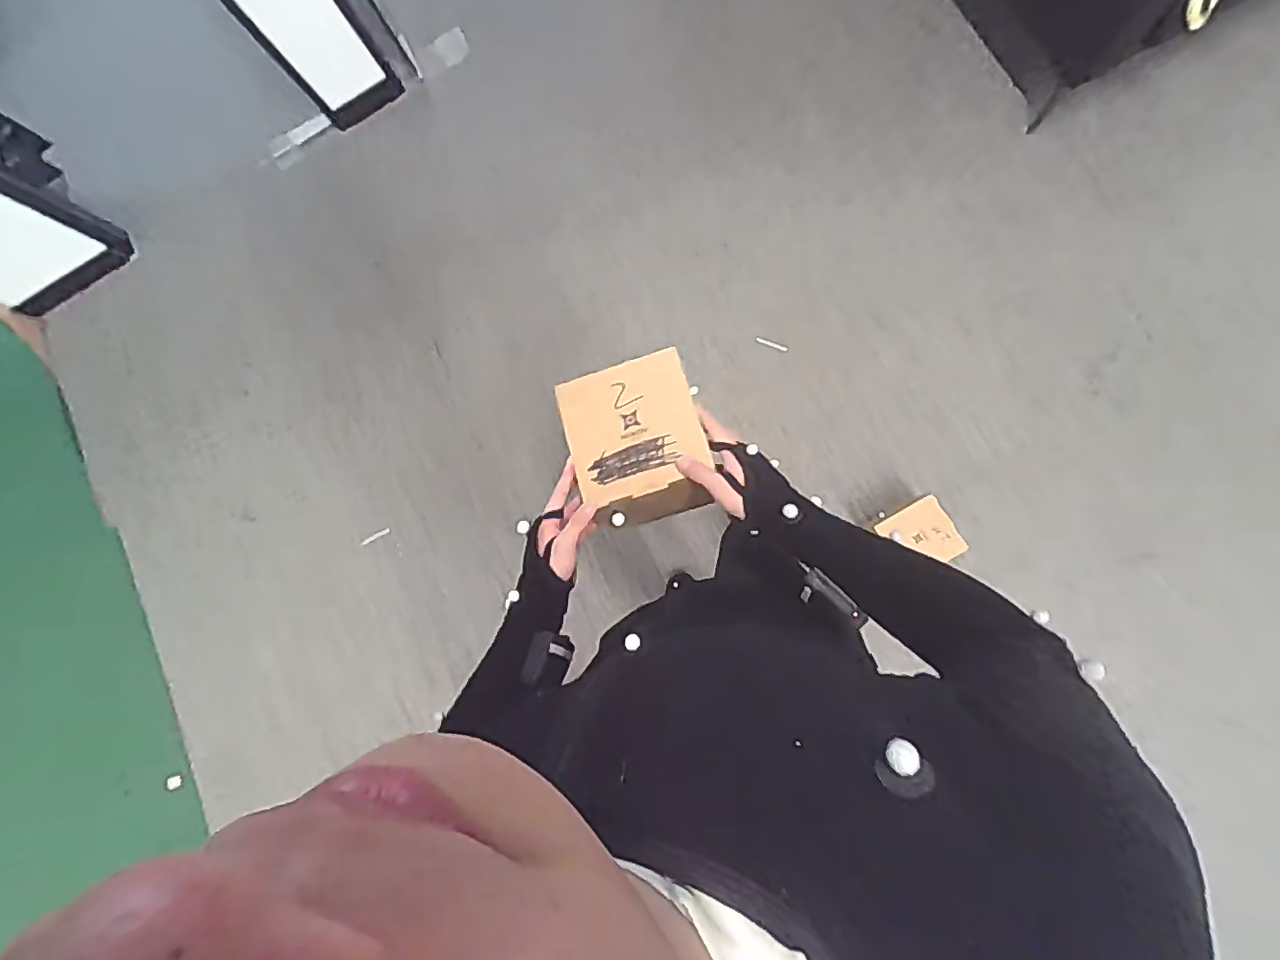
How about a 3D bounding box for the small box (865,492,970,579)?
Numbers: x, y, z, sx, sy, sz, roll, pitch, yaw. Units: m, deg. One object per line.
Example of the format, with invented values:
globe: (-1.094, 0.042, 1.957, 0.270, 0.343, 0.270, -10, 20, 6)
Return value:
small box: (0.733, 0.150, 1.458, 0.179, 0.176, 0.168, -31, 81, 4)
